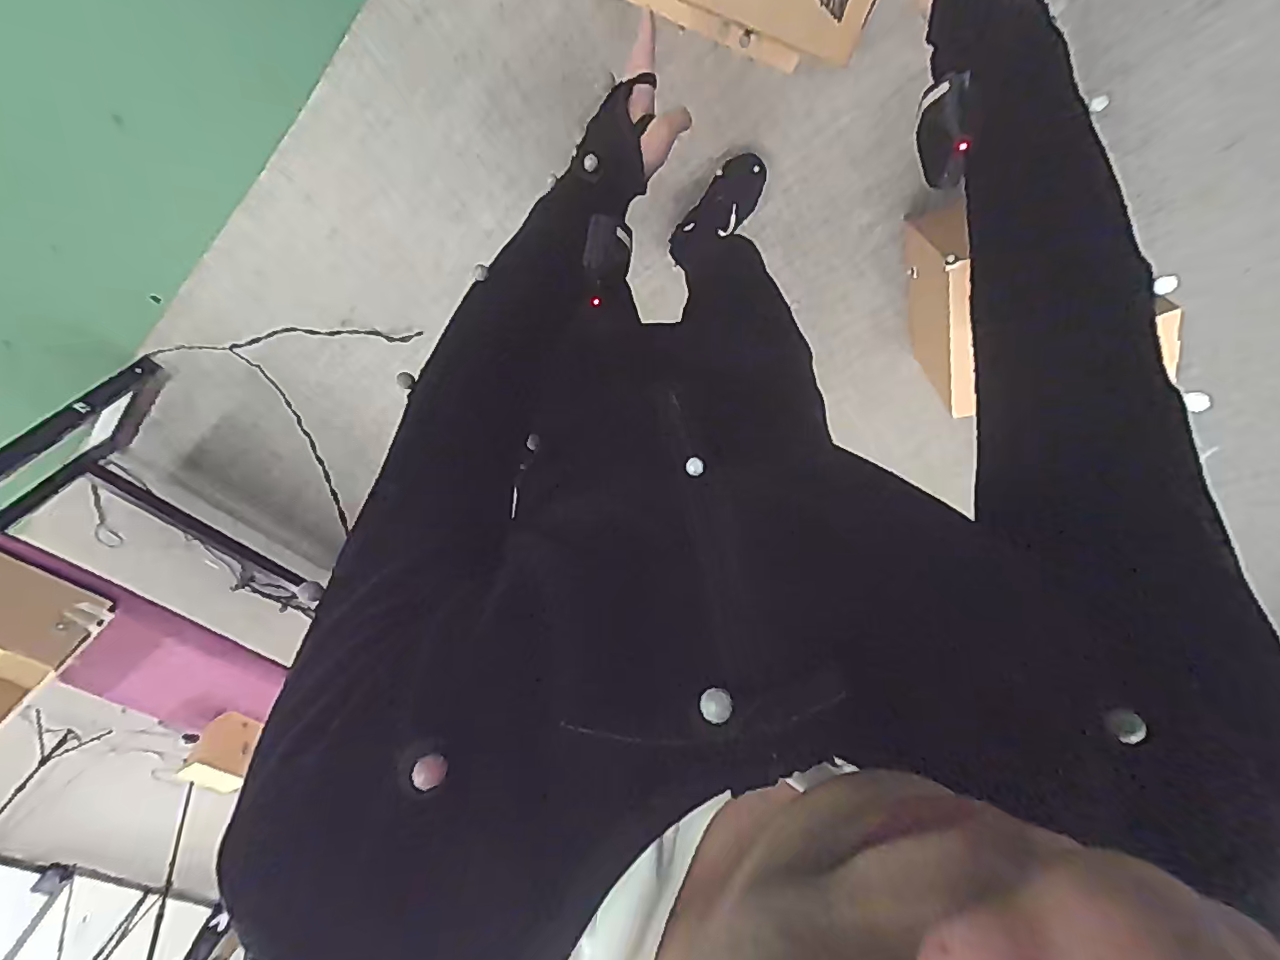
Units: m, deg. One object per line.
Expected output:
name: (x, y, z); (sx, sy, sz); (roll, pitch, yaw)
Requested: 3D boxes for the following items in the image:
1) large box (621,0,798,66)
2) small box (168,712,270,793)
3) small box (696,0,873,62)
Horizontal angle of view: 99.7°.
large box: (0.123, -0.947, 0.892); (0.408, 0.320, 0.320); (17, 129, -8)
small box: (-1.308, 0.852, 1.694); (0.179, 0.176, 0.168); (-31, 121, 28)
small box: (0.140, -0.522, 0.499); (0.179, 0.176, 0.168); (17, 130, -7)
